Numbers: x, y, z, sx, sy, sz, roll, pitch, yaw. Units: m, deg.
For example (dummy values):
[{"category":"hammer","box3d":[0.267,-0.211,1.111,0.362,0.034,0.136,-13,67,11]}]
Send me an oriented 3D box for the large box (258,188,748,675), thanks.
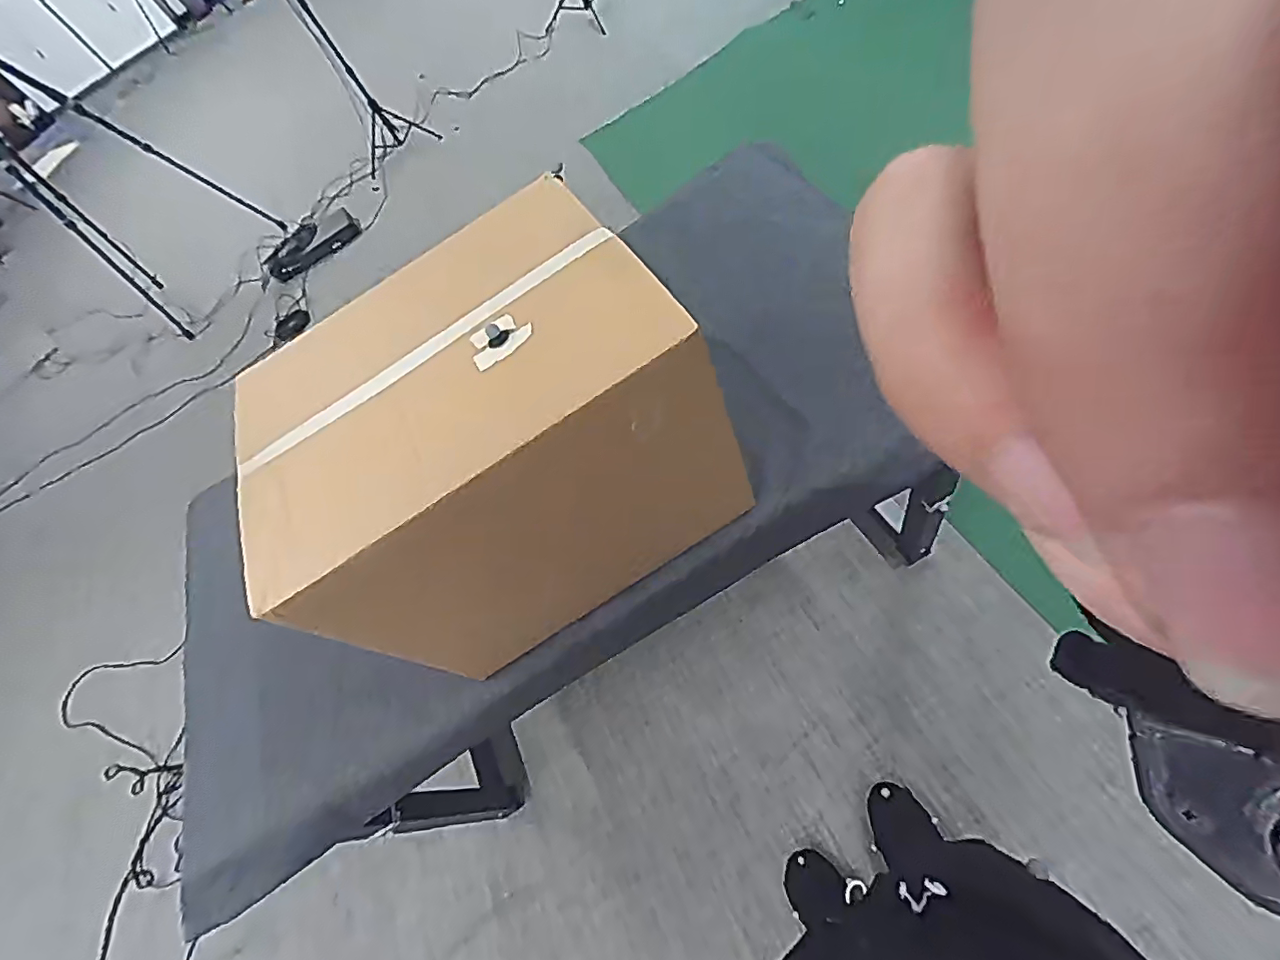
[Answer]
[{"category":"large box","box3d":[-0.141,-0.039,0.628,0.408,0.320,0.320,-33,56,-1]}]
